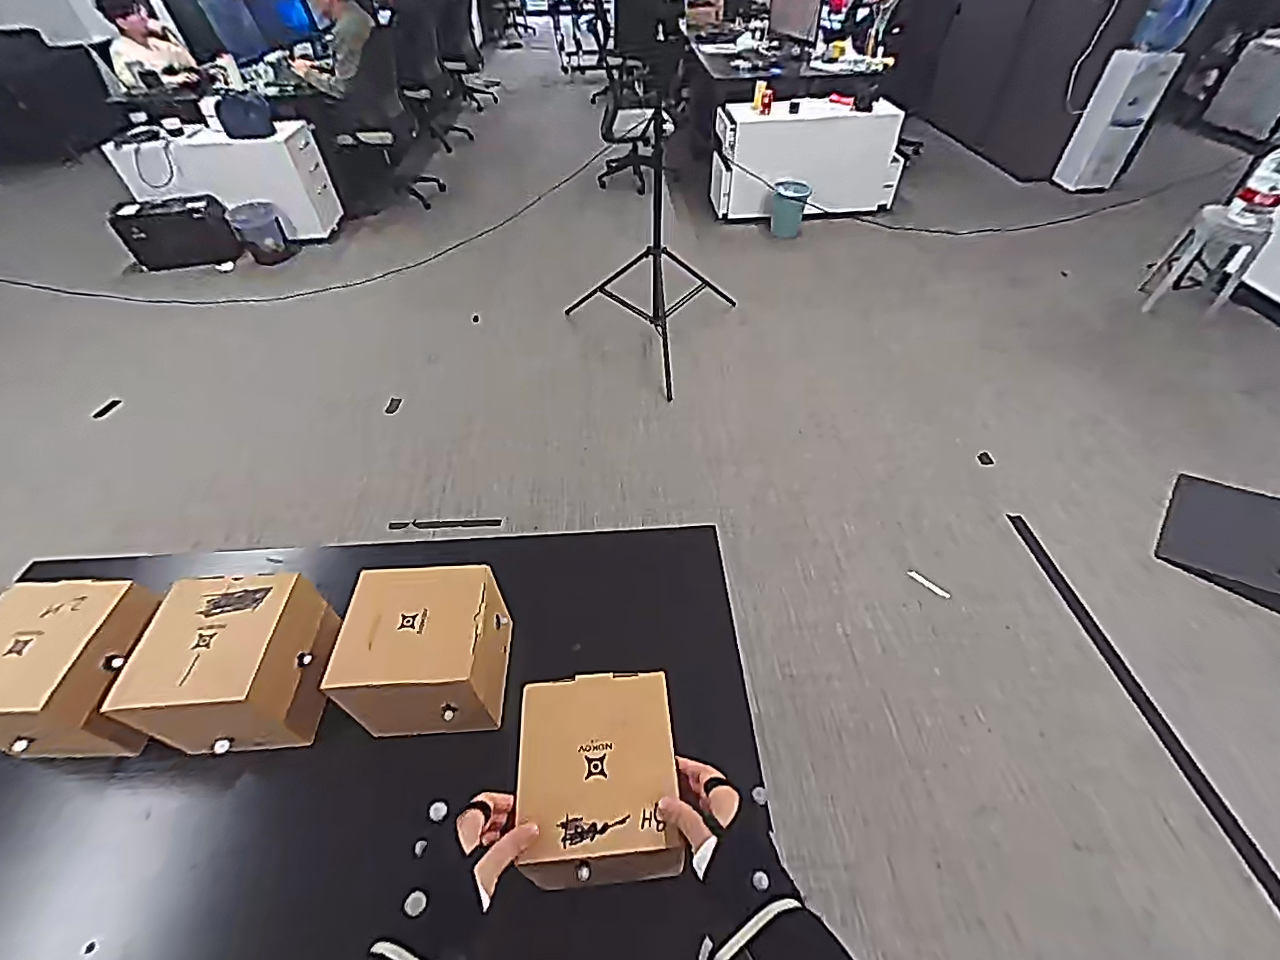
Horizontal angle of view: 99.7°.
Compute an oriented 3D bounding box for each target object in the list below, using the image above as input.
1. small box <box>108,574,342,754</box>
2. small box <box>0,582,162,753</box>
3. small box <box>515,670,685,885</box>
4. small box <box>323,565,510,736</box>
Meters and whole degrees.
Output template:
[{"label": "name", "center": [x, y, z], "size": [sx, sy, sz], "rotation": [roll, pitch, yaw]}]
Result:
[{"label": "small box", "center": [-0.533, 0.249, 0.734], "size": [0.168, 0.176, 0.179], "rotation": [-4, 48, -3]}, {"label": "small box", "center": [-0.757, 0.258, 0.733], "size": [0.168, 0.176, 0.179], "rotation": [-1, 47, 0]}, {"label": "small box", "center": [-0.042, 0.345, 0.629], "size": [0.168, 0.176, 0.179], "rotation": [-5, 47, -2]}, {"label": "small box", "center": [-0.285, 0.235, 0.743], "size": [0.179, 0.176, 0.168], "rotation": [-4, 45, 0]}]
